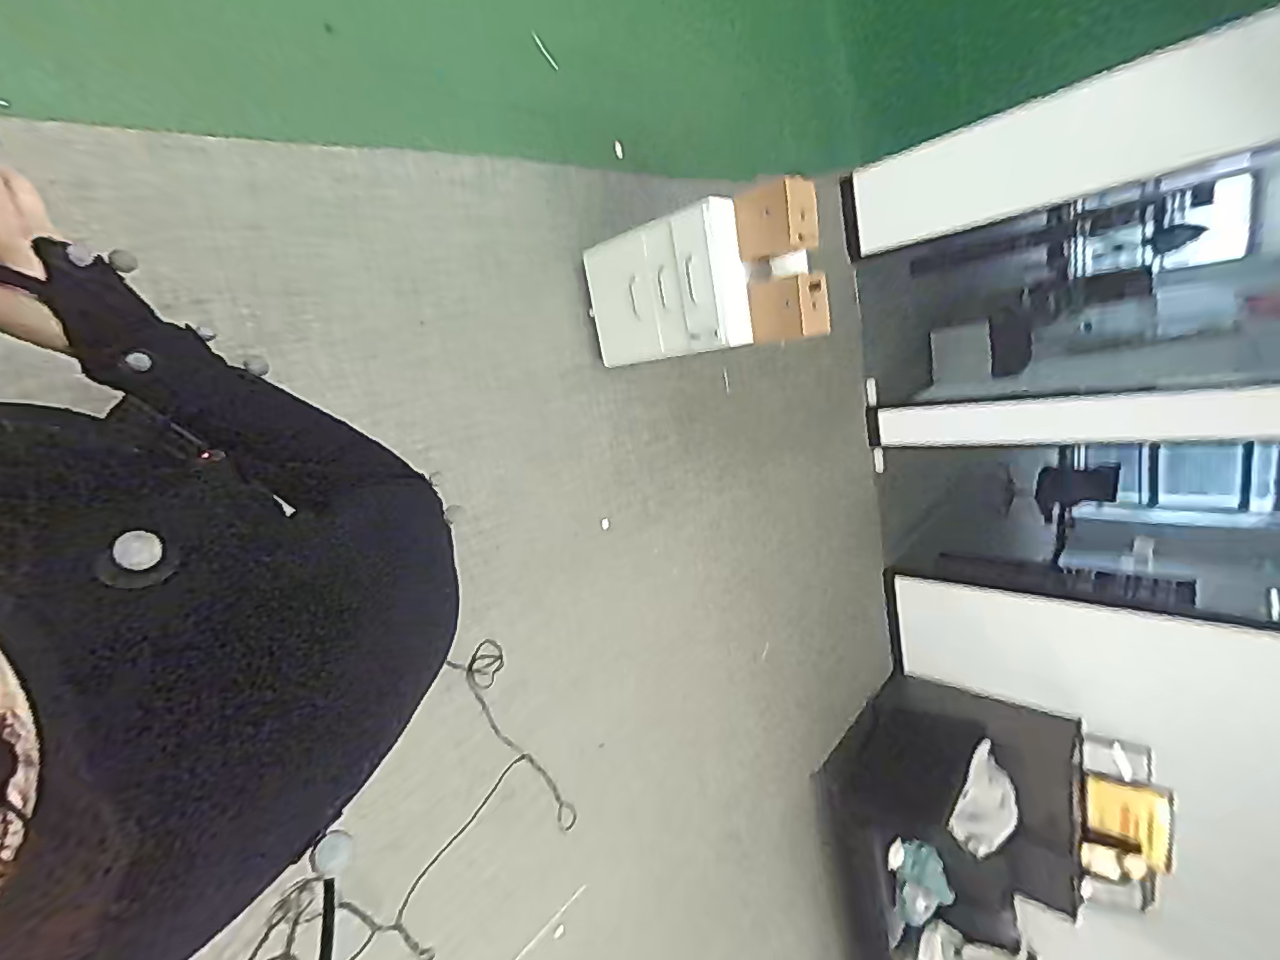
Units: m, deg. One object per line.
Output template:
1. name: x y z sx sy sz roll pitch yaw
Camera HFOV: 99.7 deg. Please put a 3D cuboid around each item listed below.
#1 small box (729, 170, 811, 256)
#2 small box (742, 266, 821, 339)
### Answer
1. small box: 0.370 -0.758 1.551 0.168 0.176 0.179 -22 108 -42
2. small box: 0.421 -0.528 1.616 0.168 0.176 0.179 -20 106 -43
